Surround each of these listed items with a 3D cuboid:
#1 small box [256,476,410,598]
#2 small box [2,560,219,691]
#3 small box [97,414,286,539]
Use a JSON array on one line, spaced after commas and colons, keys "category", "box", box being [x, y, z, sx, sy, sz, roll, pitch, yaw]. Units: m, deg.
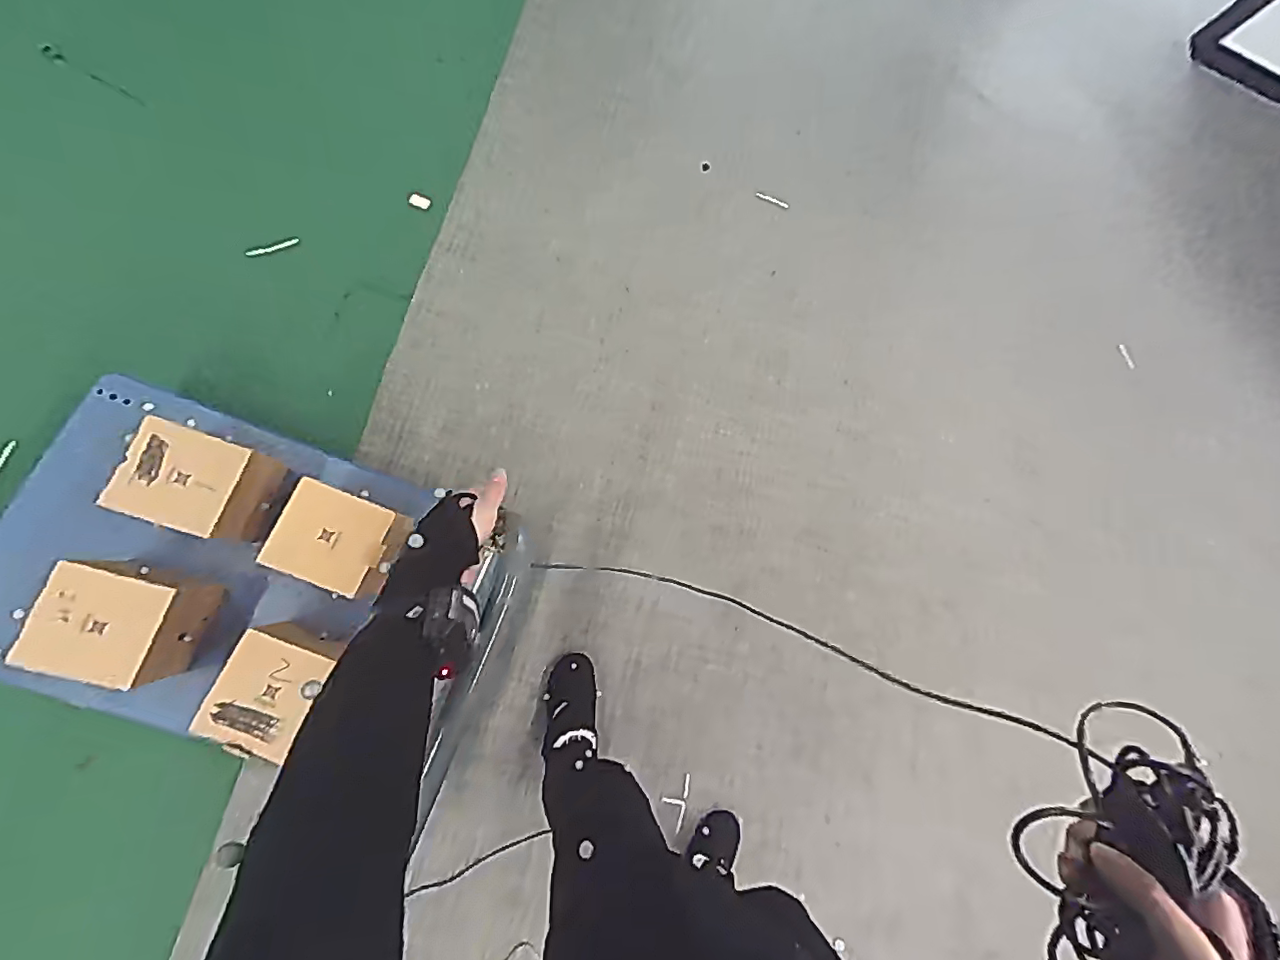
[{"category": "small box", "box": [-0.564, 0.113, 1.023, 0.179, 0.176, 0.168, 25, 76, -10]}, {"category": "small box", "box": [-0.878, 0.240, 0.924, 0.179, 0.176, 0.168, 20, 76, -10]}, {"category": "small box", "box": [-0.794, 0.005, 0.982, 0.179, 0.176, 0.168, 22, 77, -11]}]
